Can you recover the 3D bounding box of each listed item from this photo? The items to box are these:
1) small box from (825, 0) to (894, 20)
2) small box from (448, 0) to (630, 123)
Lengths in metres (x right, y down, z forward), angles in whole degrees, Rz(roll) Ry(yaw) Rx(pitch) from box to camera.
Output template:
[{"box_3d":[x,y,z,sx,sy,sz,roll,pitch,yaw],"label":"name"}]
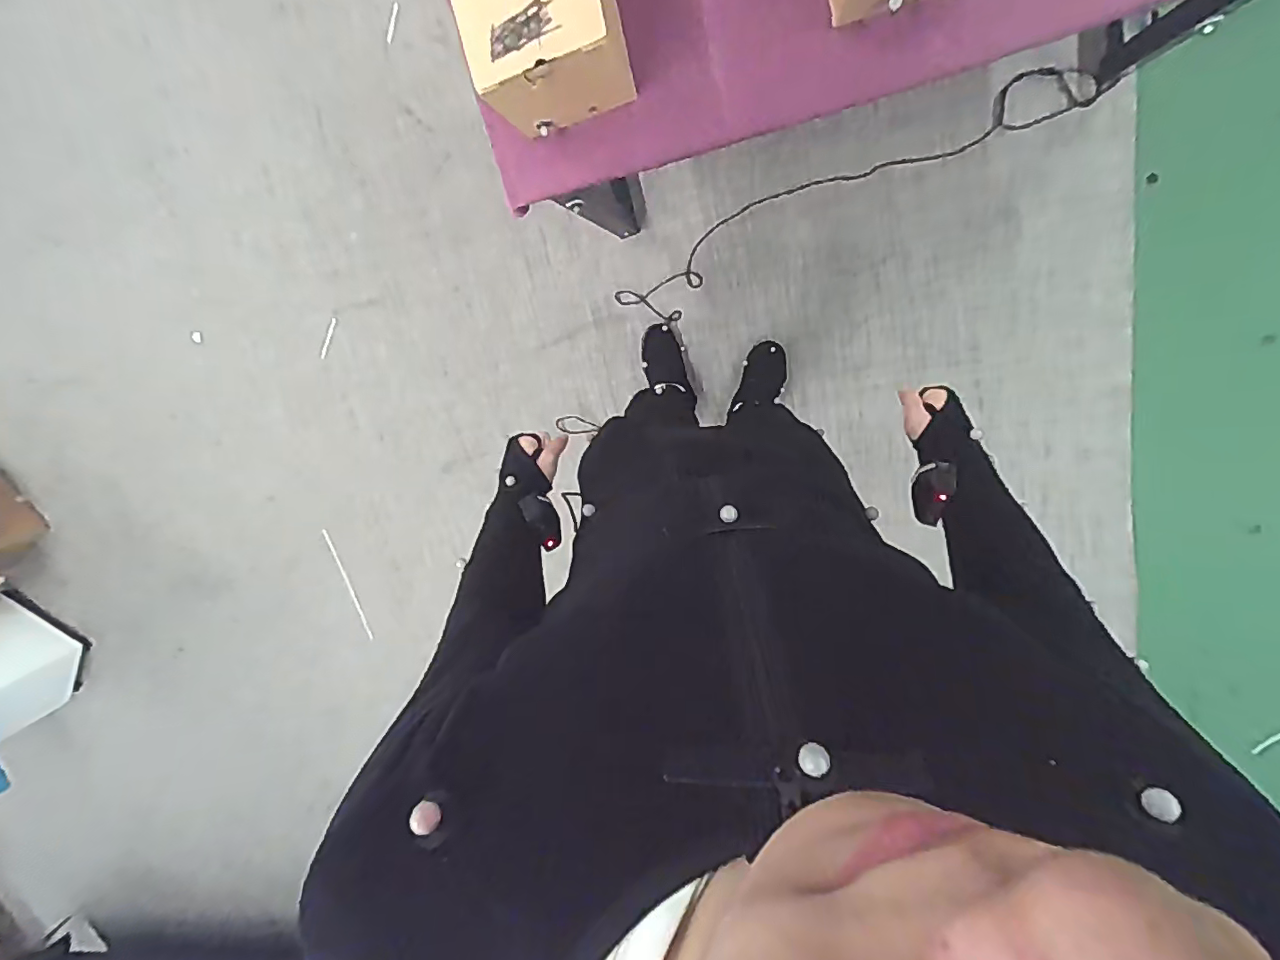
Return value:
[{"box_3d":[0.275,-0.643,0.562,0.168,0.176,0.179,-10,105,16],"label":"small box"},{"box_3d":[-0.122,-0.575,0.670,0.168,0.176,0.179,-11,104,15],"label":"small box"}]
